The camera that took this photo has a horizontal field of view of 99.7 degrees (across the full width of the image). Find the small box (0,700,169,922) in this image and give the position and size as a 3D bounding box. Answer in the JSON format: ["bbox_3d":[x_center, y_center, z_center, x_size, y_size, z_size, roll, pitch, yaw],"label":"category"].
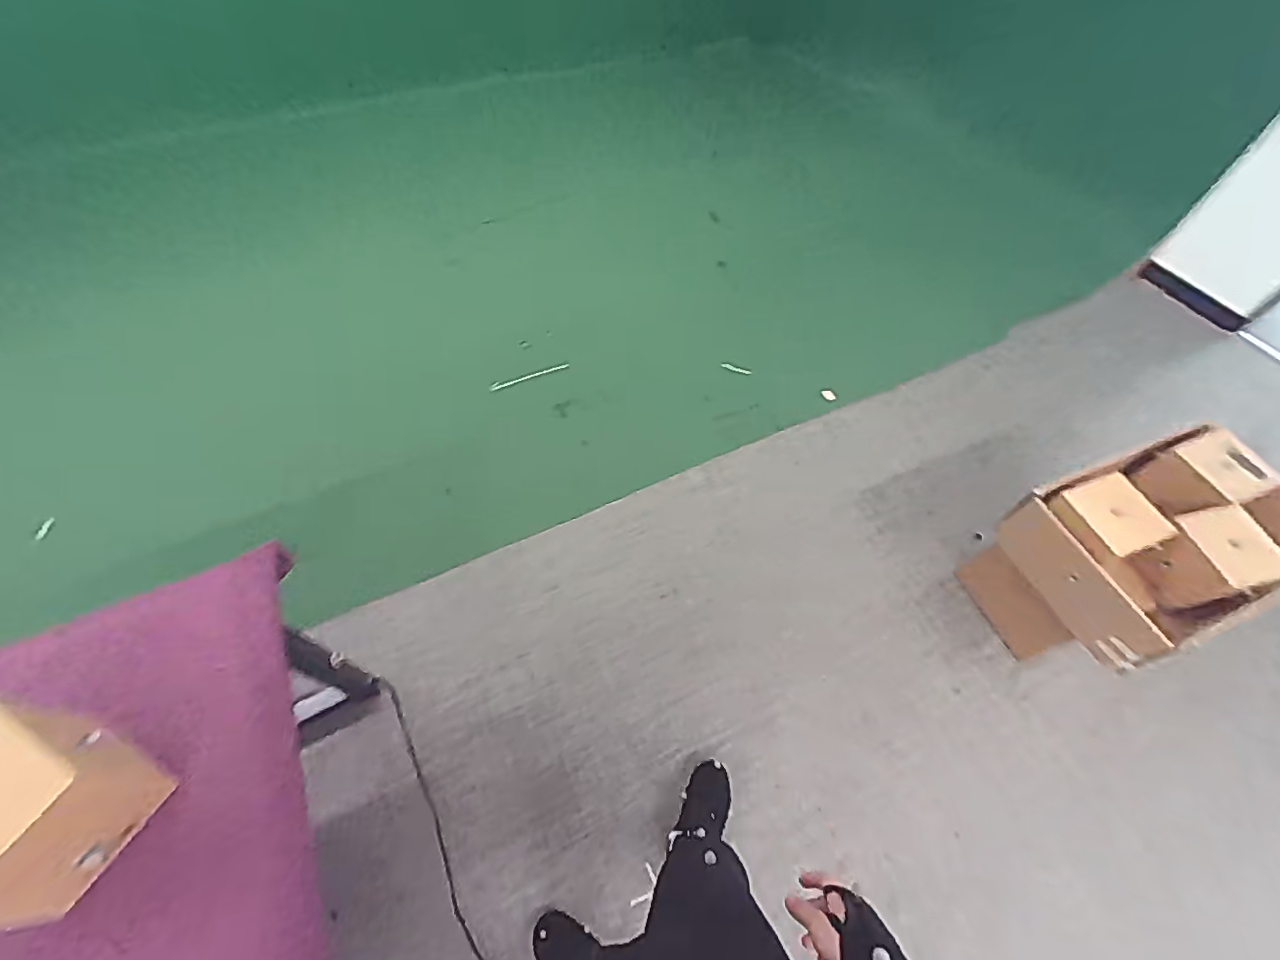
[{"bbox_3d":[-0.734,0.390,0.638,0.179,0.176,0.168,26,61,12],"label":"small box"}]
